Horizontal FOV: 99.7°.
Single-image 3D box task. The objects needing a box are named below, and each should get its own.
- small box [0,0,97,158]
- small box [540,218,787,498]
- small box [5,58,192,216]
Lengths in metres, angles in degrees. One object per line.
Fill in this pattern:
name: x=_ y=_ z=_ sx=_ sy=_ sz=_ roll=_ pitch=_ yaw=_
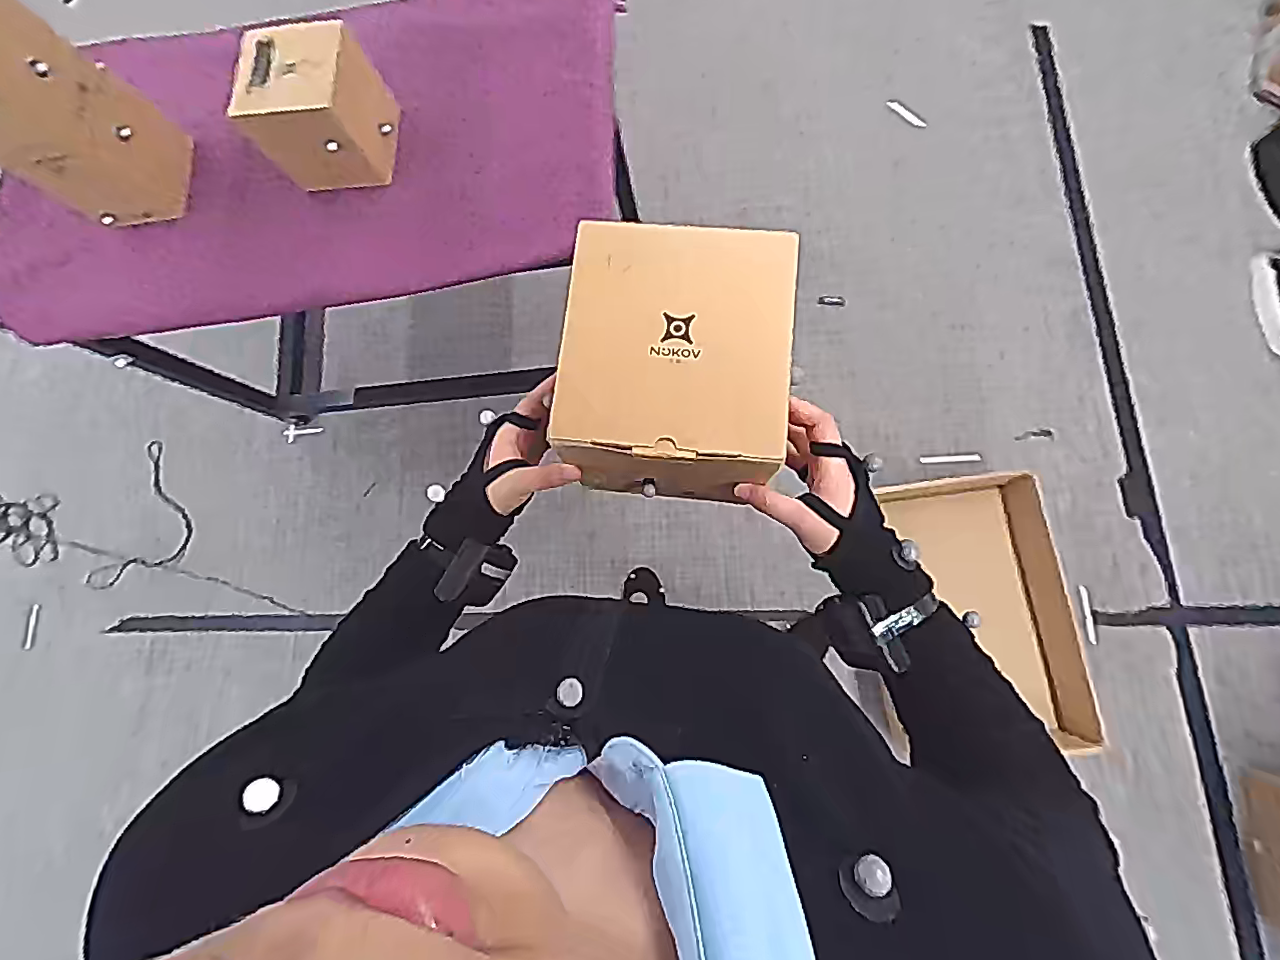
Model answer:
small box: x=-0.984 y=-0.622 z=0.812 sx=0.179 sy=0.176 sz=0.168 roll=-4 pitch=79 yaw=7
small box: x=0.022 y=-0.090 z=0.465 sx=0.168 sy=0.176 sz=0.179 roll=5 pitch=79 yaw=4
small box: x=-0.960 y=-0.602 z=0.975 sx=0.168 sy=0.176 sz=0.179 roll=-3 pitch=79 yaw=7
